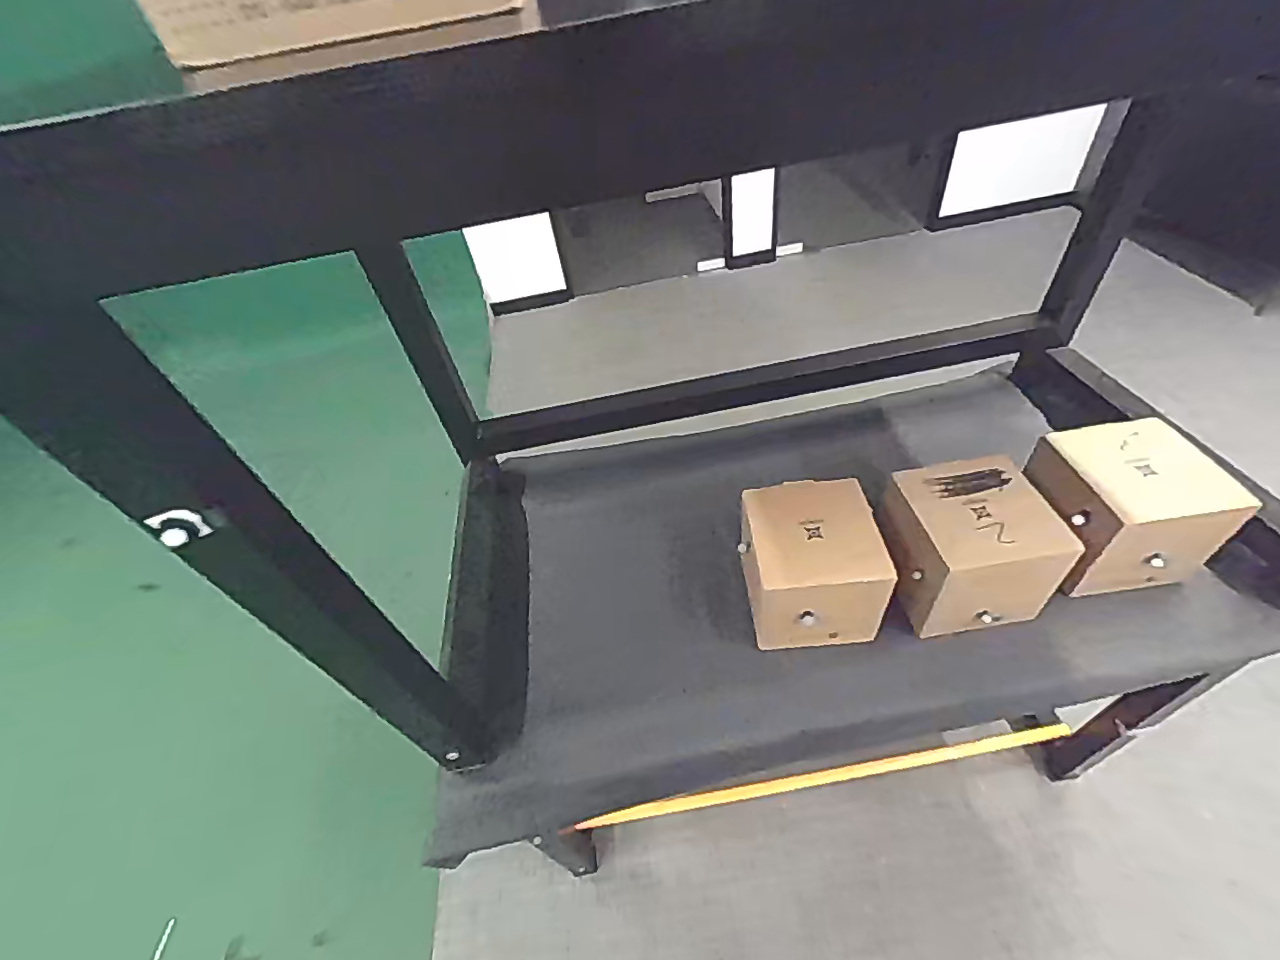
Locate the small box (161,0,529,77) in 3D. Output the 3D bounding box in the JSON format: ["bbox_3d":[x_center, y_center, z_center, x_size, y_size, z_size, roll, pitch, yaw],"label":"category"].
[{"bbox_3d":[-0.155,-0.315,0.258,0.168,0.176,0.179,-10,46,1],"label":"small box"}]

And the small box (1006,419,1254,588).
[{"bbox_3d":[0.677,0.041,0.778,0.168,0.176,0.179,-9,45,2],"label":"small box"}]

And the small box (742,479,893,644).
[{"bbox_3d":[0.243,0.125,0.784,0.168,0.176,0.179,-6,45,5],"label":"small box"}]
